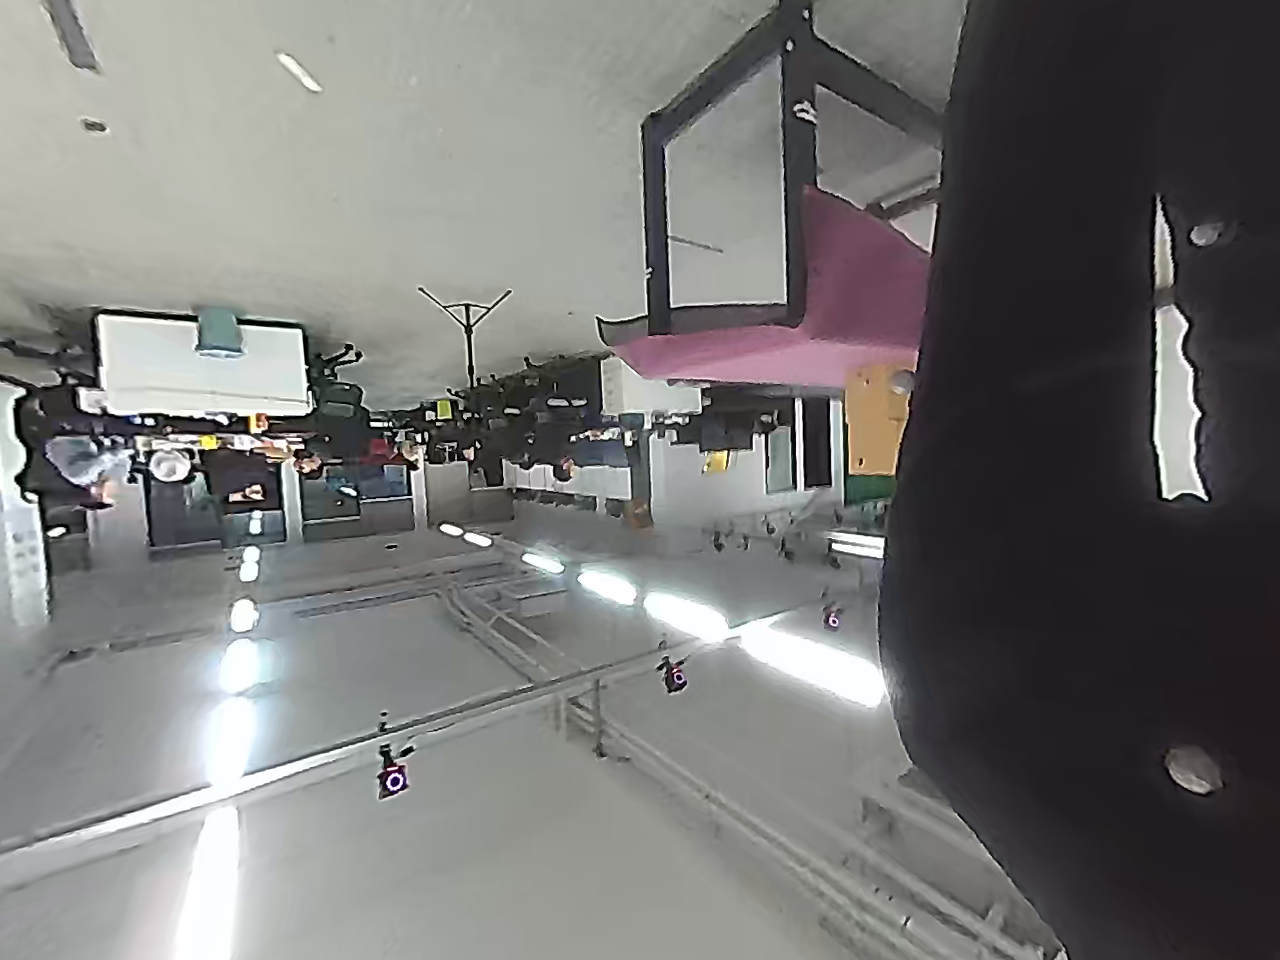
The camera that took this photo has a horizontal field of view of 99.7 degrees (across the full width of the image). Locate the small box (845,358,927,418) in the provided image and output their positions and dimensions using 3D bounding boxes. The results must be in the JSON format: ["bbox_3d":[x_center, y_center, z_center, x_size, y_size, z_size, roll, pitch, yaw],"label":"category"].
[{"bbox_3d":[0.759,-0.280,1.668,0.179,0.176,0.168,-3,-176,-24],"label":"small box"}]

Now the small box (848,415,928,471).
[{"bbox_3d":[0.779,-0.117,1.697,0.168,0.176,0.179,-5,-175,-29],"label":"small box"}]
